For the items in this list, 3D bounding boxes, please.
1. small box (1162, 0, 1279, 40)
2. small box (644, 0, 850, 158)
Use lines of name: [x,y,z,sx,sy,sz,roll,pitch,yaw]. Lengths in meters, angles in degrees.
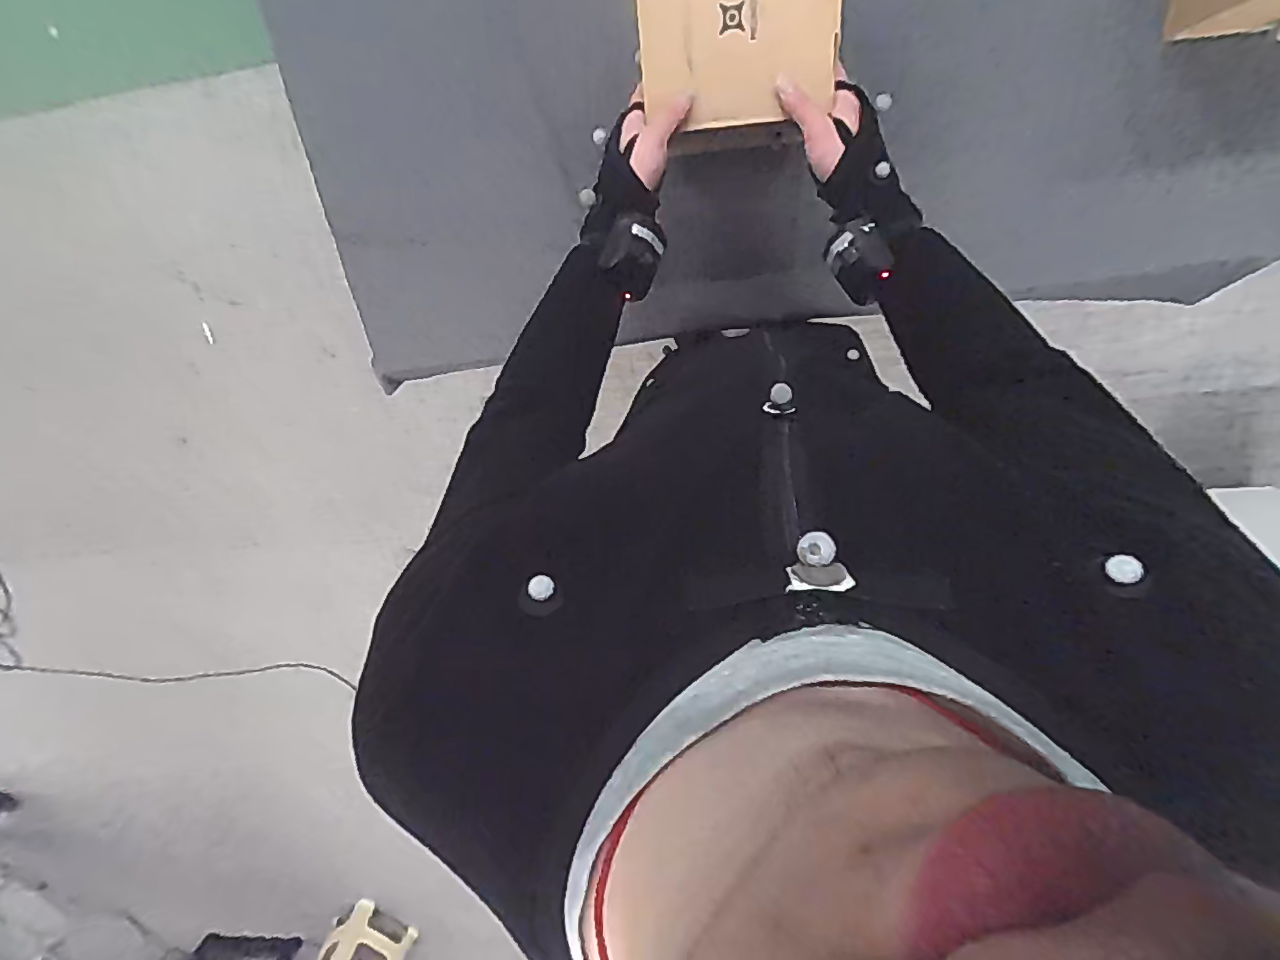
small box: [0.636,-0.517,0.472,0.179,0.176,0.168,-1,114,7]
small box: [0.099,-0.431,0.537,0.179,0.176,0.168,-2,114,8]
